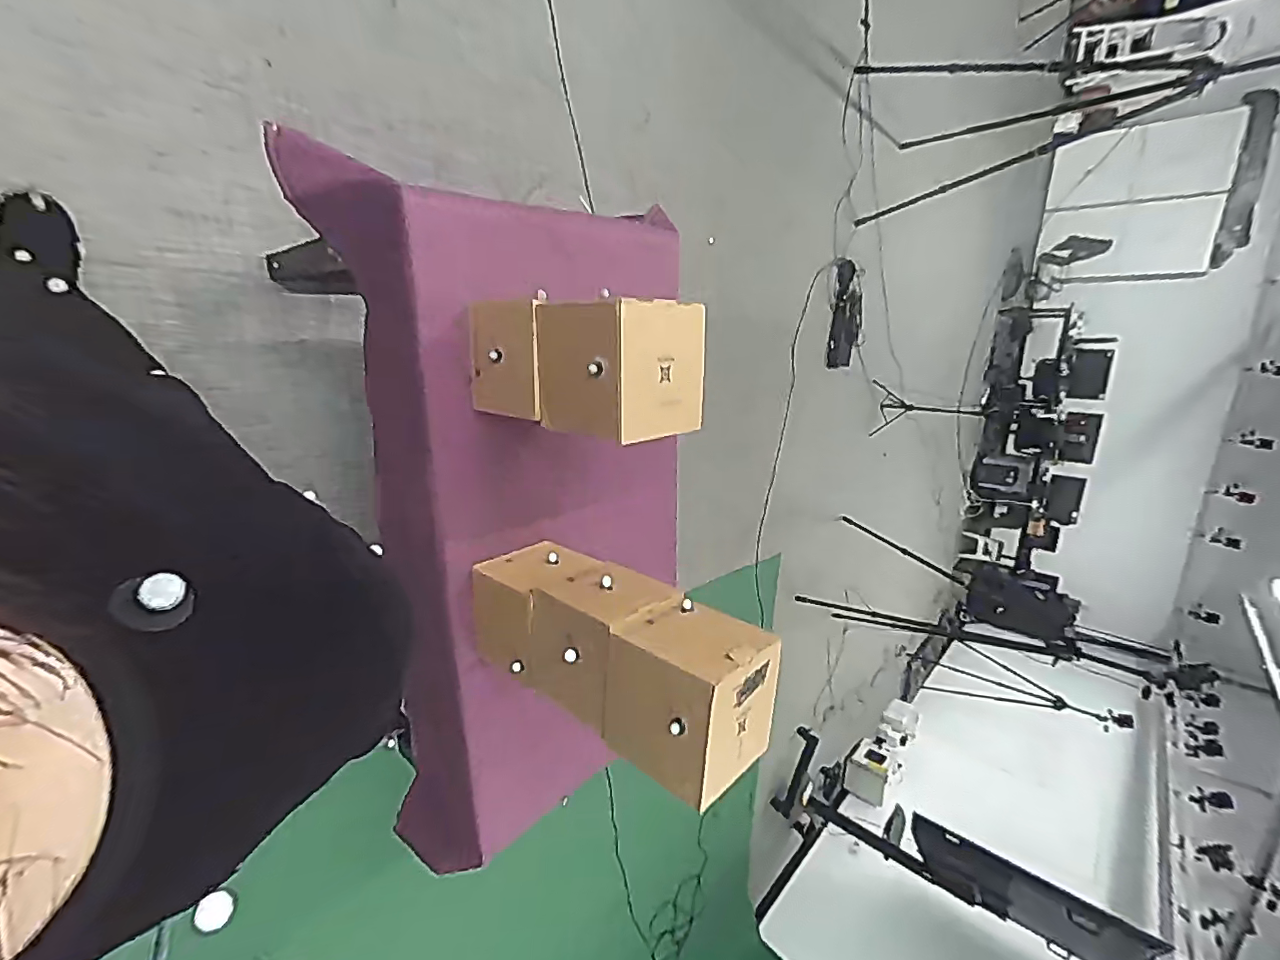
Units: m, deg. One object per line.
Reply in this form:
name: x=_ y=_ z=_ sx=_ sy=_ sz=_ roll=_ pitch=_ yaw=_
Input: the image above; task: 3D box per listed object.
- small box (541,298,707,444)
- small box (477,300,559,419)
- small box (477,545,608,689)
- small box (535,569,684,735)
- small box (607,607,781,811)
small box: x=-0.025 y=-0.155 z=0.755 sx=0.168 sy=0.176 sz=0.179 roll=-15 pitch=112 yaw=-44
small box: x=-0.145 y=-0.191 z=0.859 sx=0.179 sy=0.176 sz=0.168 roll=-14 pitch=111 yaw=-46
small box: x=-0.171 y=0.226 z=0.952 sx=0.168 sy=0.176 sz=0.179 roll=-16 pitch=113 yaw=-46
small box: x=-0.050 y=0.249 z=0.844 sx=0.168 sy=0.176 sz=0.179 roll=-10 pitch=108 yaw=-47
small box: x=0.070 y=0.290 z=0.738 sx=0.168 sy=0.176 sz=0.179 roll=-10 pitch=110 yaw=-47
